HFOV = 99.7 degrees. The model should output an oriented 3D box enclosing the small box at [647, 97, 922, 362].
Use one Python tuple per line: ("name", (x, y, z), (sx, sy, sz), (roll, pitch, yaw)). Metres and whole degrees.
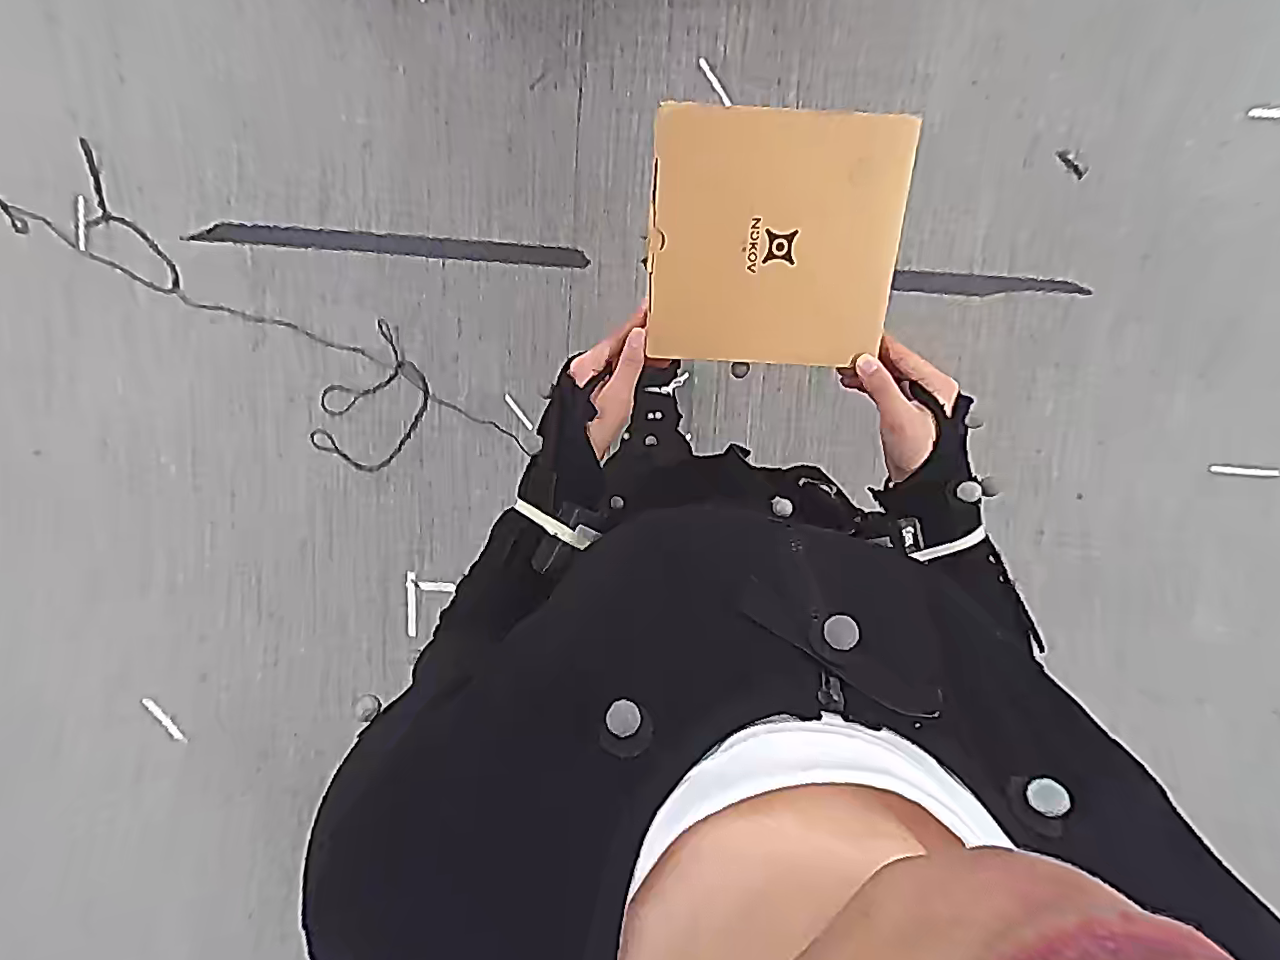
("small box", (0.098, -0.199, 0.457), (0.179, 0.176, 0.168), (3, 110, 1))
